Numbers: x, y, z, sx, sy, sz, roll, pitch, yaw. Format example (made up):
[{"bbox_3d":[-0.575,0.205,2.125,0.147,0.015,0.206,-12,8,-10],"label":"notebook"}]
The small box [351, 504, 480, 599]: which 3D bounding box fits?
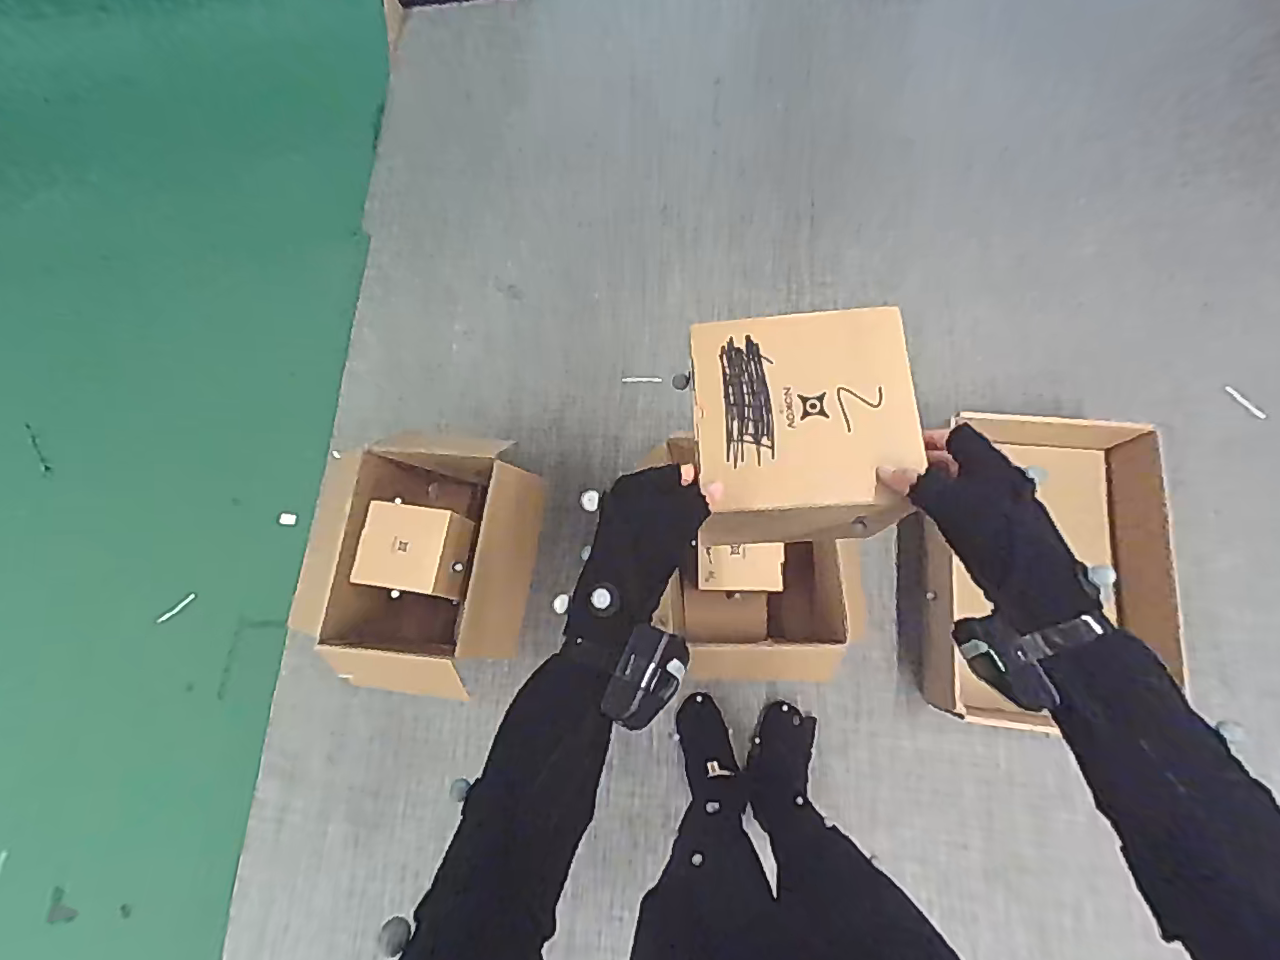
[{"bbox_3d":[-0.460,0.156,1.138,0.179,0.176,0.168,7,76,8],"label":"small box"}]
